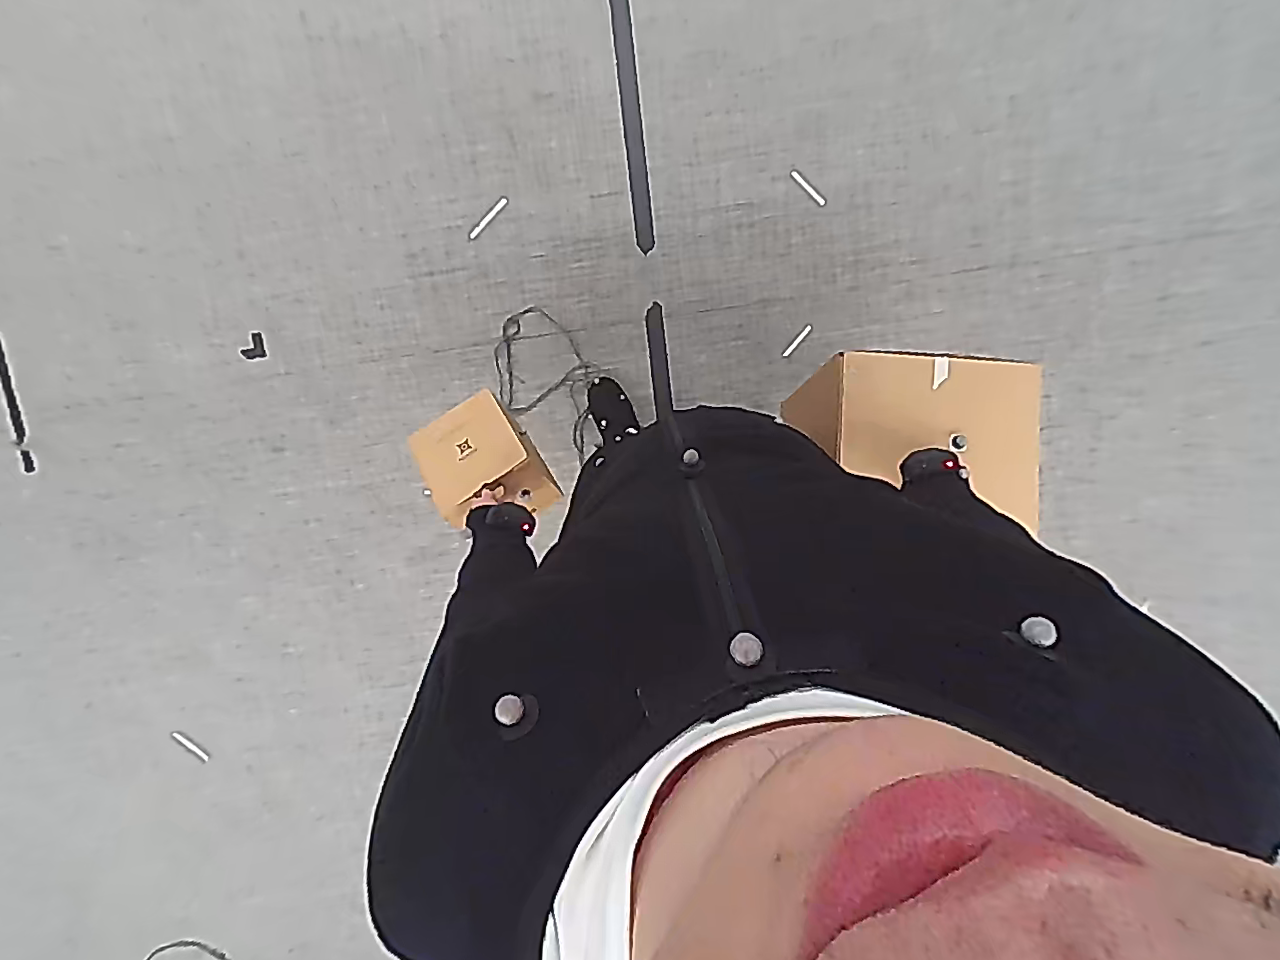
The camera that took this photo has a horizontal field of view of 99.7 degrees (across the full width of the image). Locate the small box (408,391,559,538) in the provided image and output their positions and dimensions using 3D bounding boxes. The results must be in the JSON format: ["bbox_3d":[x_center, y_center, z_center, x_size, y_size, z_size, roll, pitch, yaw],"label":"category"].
[{"bbox_3d":[-0.267,-0.015,0.955,0.168,0.176,0.179,-34,64,-4],"label":"small box"}]
